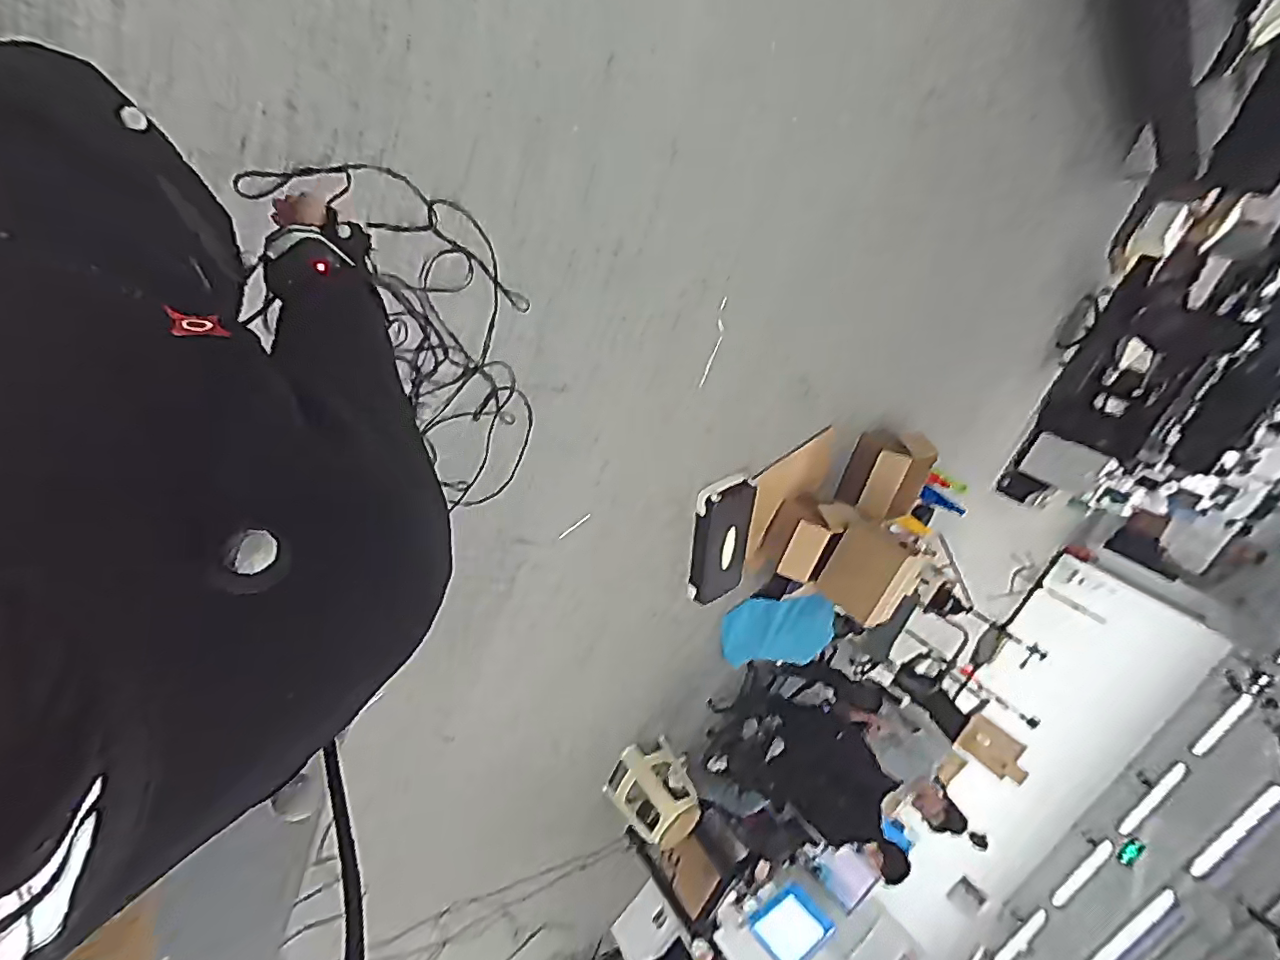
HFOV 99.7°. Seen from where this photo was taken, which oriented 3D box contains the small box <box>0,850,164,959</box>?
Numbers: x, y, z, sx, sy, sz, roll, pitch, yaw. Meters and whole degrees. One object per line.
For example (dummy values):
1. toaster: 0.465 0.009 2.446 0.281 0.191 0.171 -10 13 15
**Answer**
1. small box: -0.676 0.595 0.640 0.168 0.176 0.179 0 118 -42
